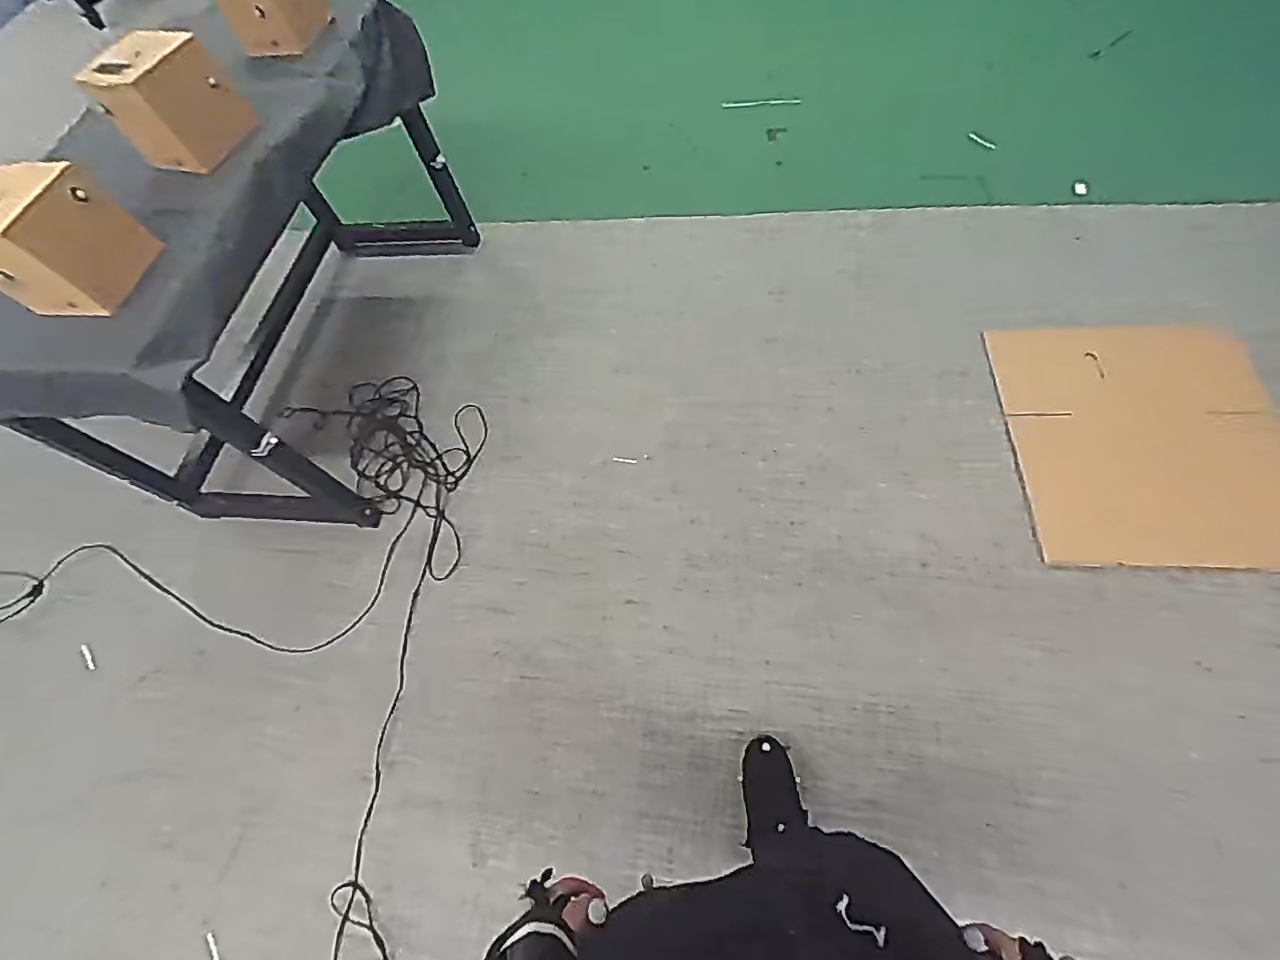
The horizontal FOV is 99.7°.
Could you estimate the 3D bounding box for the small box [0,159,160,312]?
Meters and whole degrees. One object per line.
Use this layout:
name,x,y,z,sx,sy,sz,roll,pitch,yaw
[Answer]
small box,-0.979,-0.403,0.910,0.168,0.176,0.179,4,63,11

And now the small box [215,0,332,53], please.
small box,-0.863,-1.133,1.260,0.168,0.176,0.179,8,65,11
